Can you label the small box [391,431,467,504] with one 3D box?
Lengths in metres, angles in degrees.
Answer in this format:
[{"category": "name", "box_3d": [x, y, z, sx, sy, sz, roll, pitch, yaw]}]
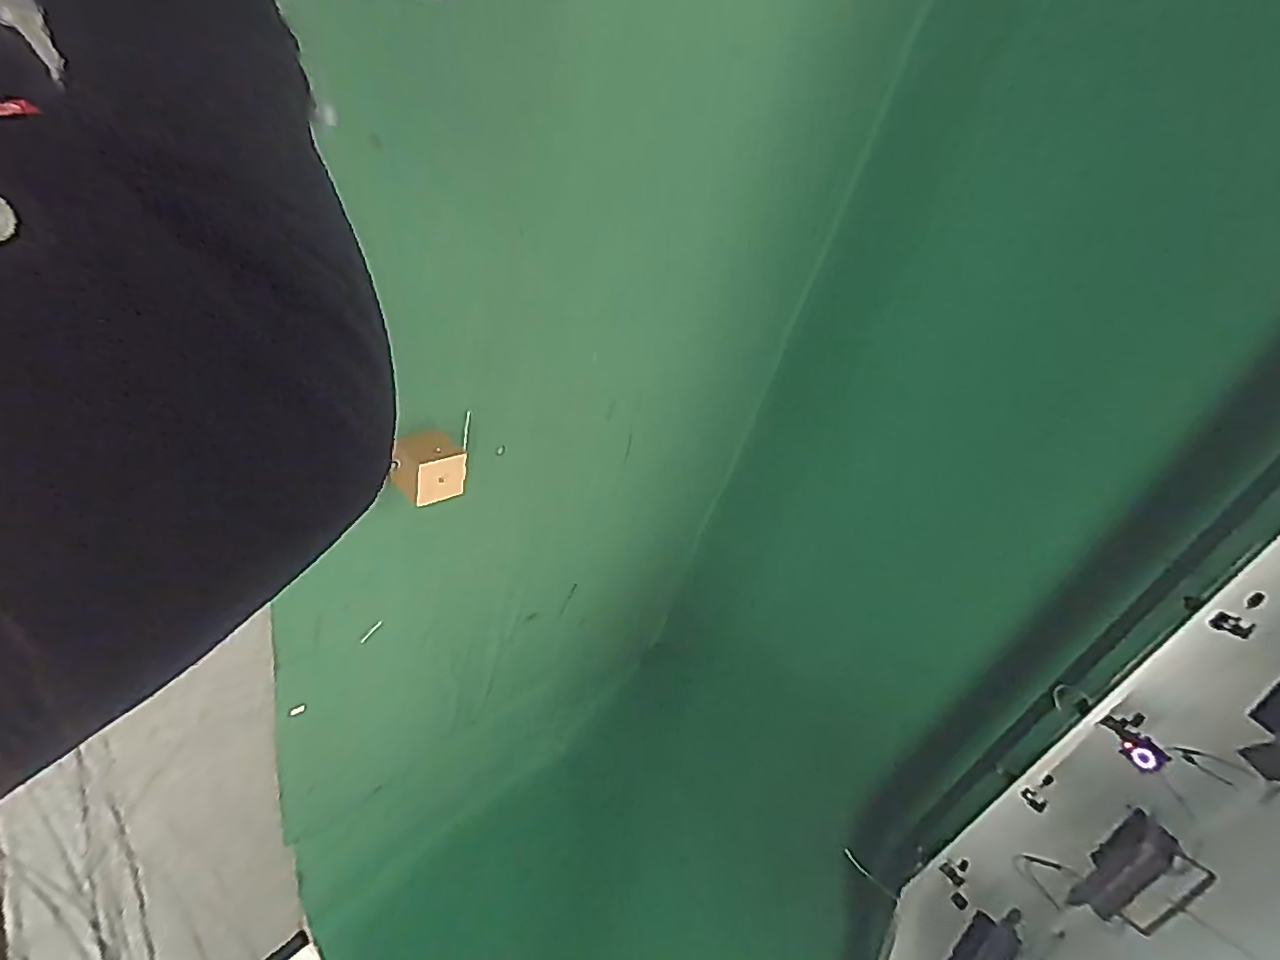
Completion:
[{"category": "small box", "box_3d": [-0.704, -0.049, 1.804, 0.179, 0.176, 0.168, -22, 136, -46]}]
